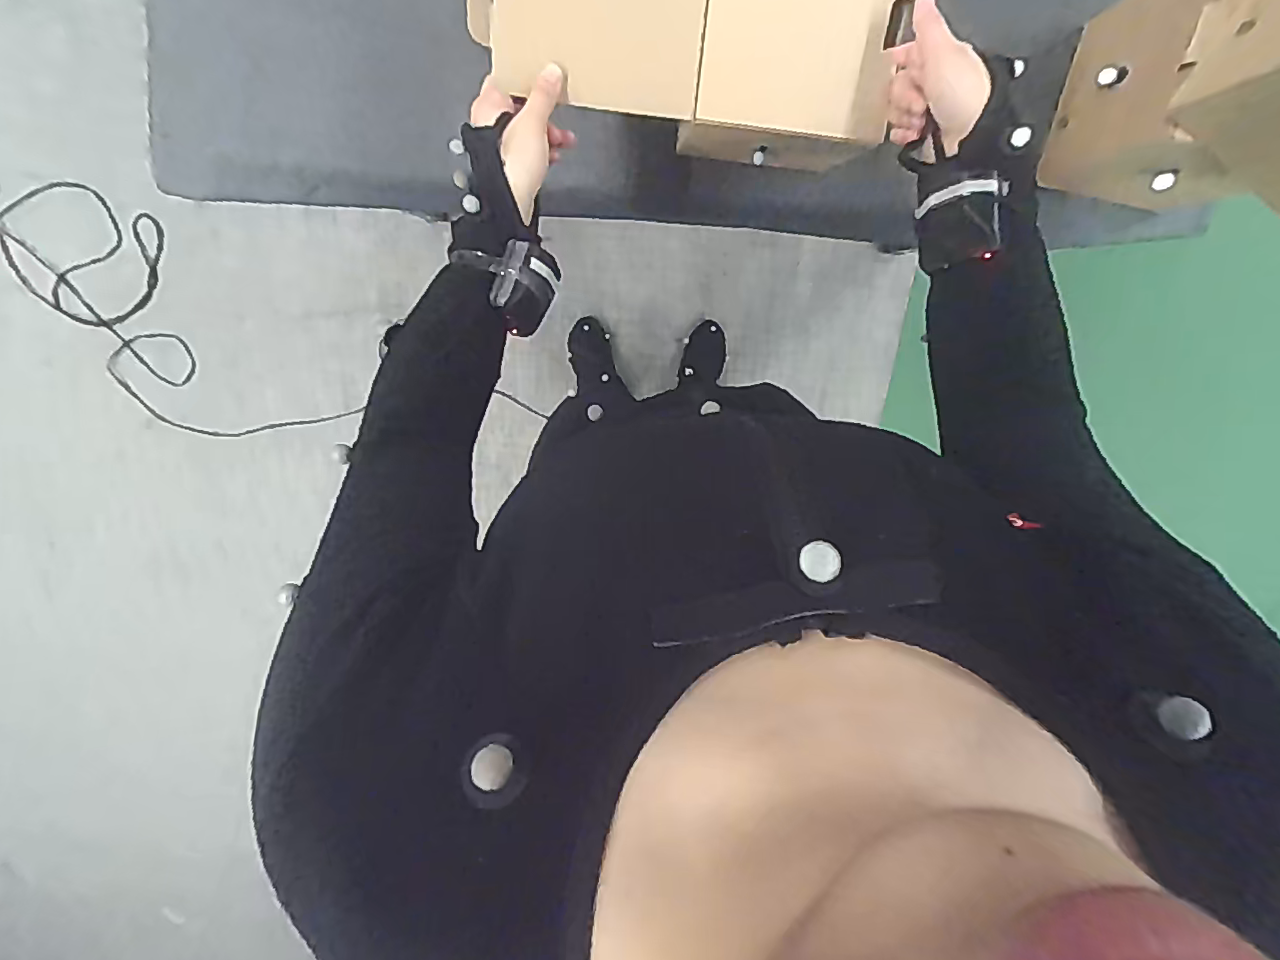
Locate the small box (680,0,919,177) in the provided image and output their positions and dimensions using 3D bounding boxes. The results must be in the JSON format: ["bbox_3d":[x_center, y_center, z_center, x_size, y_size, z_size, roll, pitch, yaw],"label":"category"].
[{"bbox_3d":[0.140,-0.403,0.524,0.179,0.176,0.168,6,112,-2],"label":"small box"}]

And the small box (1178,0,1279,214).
[{"bbox_3d":[0.577,-0.322,0.395,0.179,0.176,0.168,29,102,-11],"label":"small box"}]

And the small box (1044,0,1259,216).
[{"bbox_3d":[0.568,-0.383,0.548,0.179,0.176,0.168,9,105,-4],"label":"small box"}]
